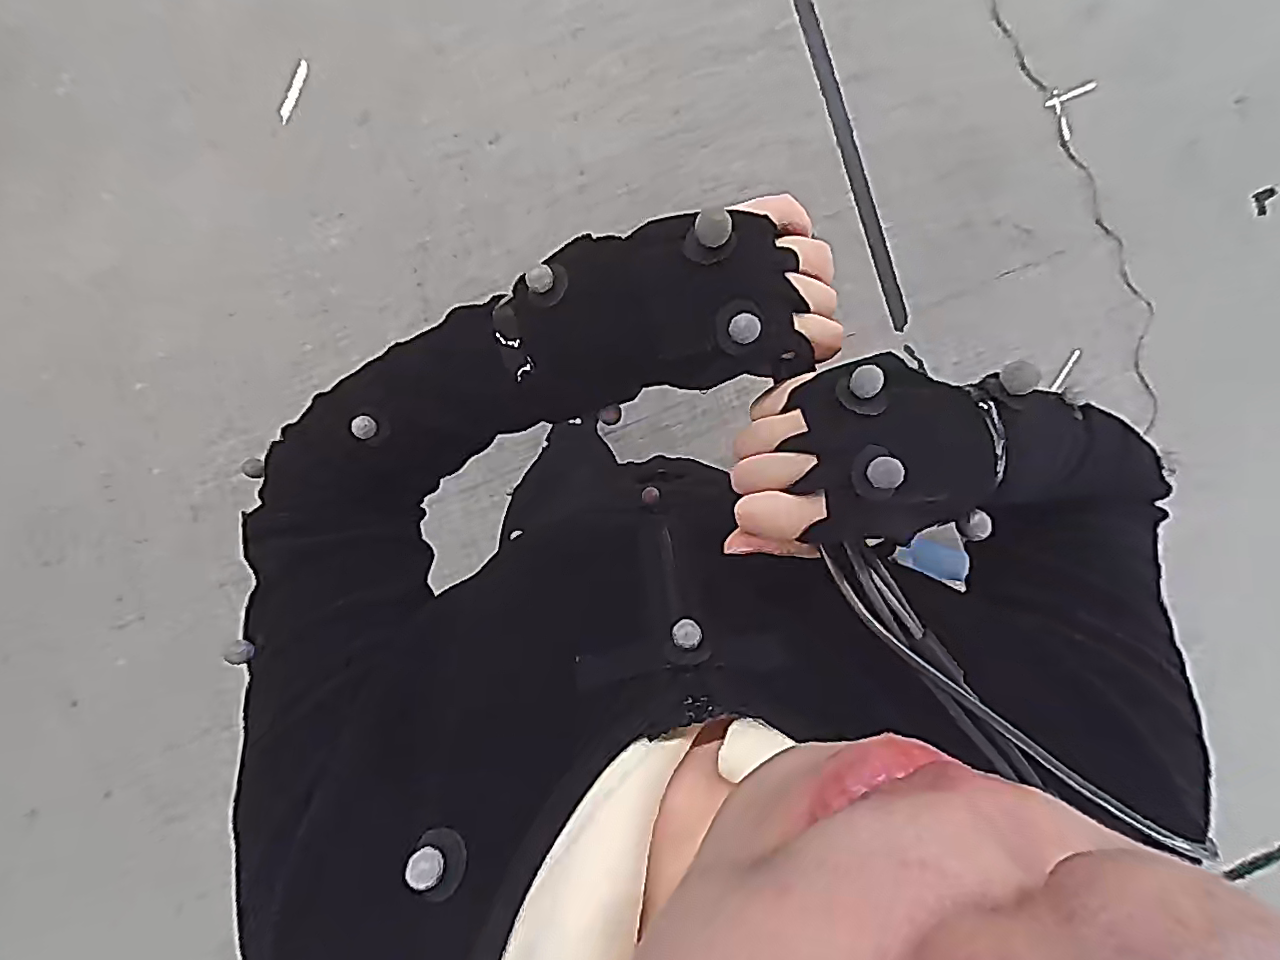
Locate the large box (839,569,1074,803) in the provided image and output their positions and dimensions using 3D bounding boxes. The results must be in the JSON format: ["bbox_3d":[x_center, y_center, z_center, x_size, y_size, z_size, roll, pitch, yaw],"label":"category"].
[{"bbox_3d":[0.696,0.447,1.248,0.320,0.320,0.408,8,95,-4],"label":"large box"}]
